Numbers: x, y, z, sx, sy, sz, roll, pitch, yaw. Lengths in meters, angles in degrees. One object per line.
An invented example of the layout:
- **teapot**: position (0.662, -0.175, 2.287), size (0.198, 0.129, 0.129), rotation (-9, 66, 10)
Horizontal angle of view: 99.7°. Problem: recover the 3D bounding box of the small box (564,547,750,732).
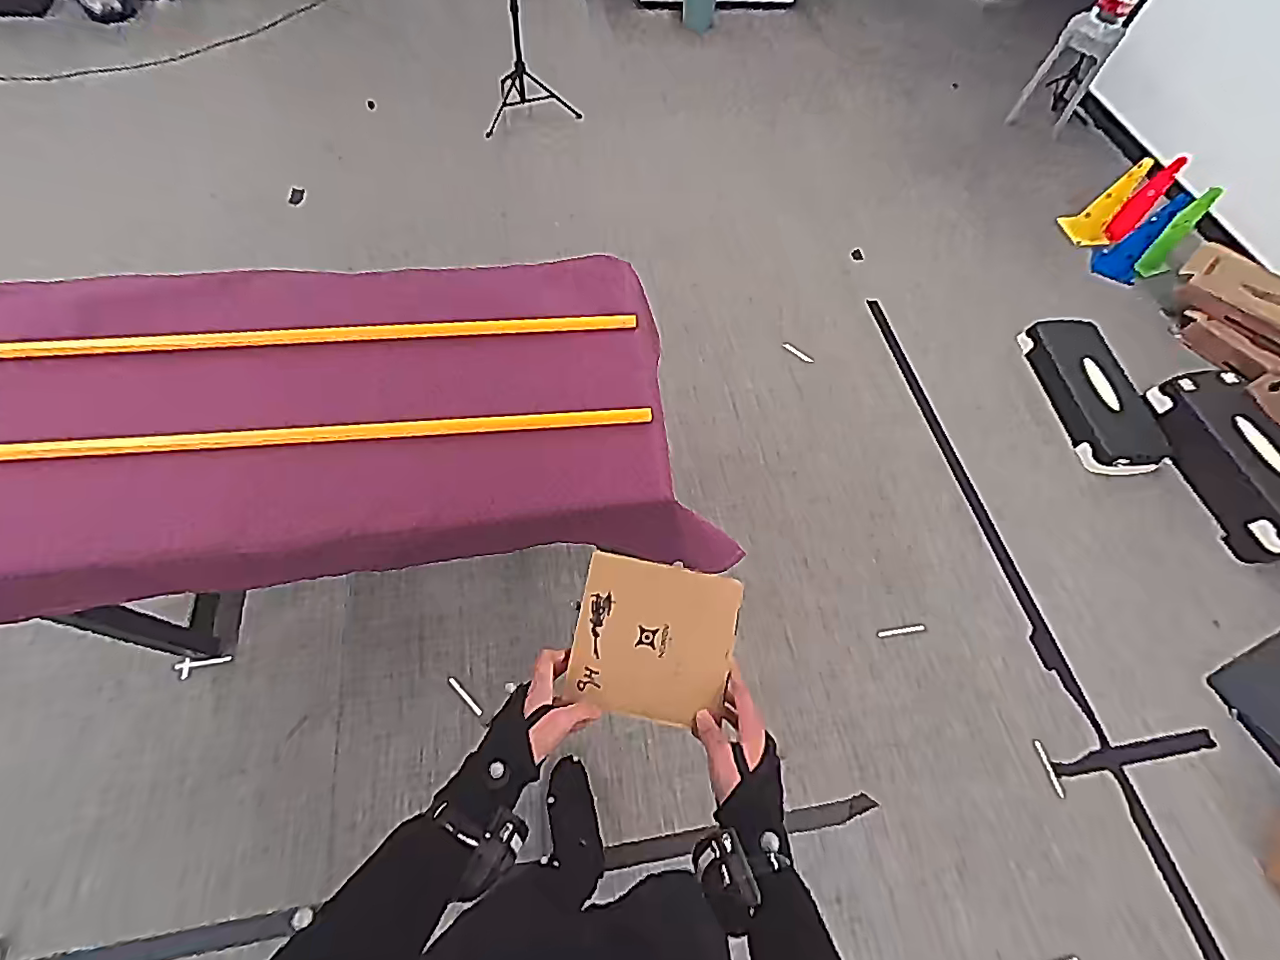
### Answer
- **small box**: position (0.017, 0.186, 0.661), size (0.179, 0.176, 0.168), rotation (13, 77, 0)
